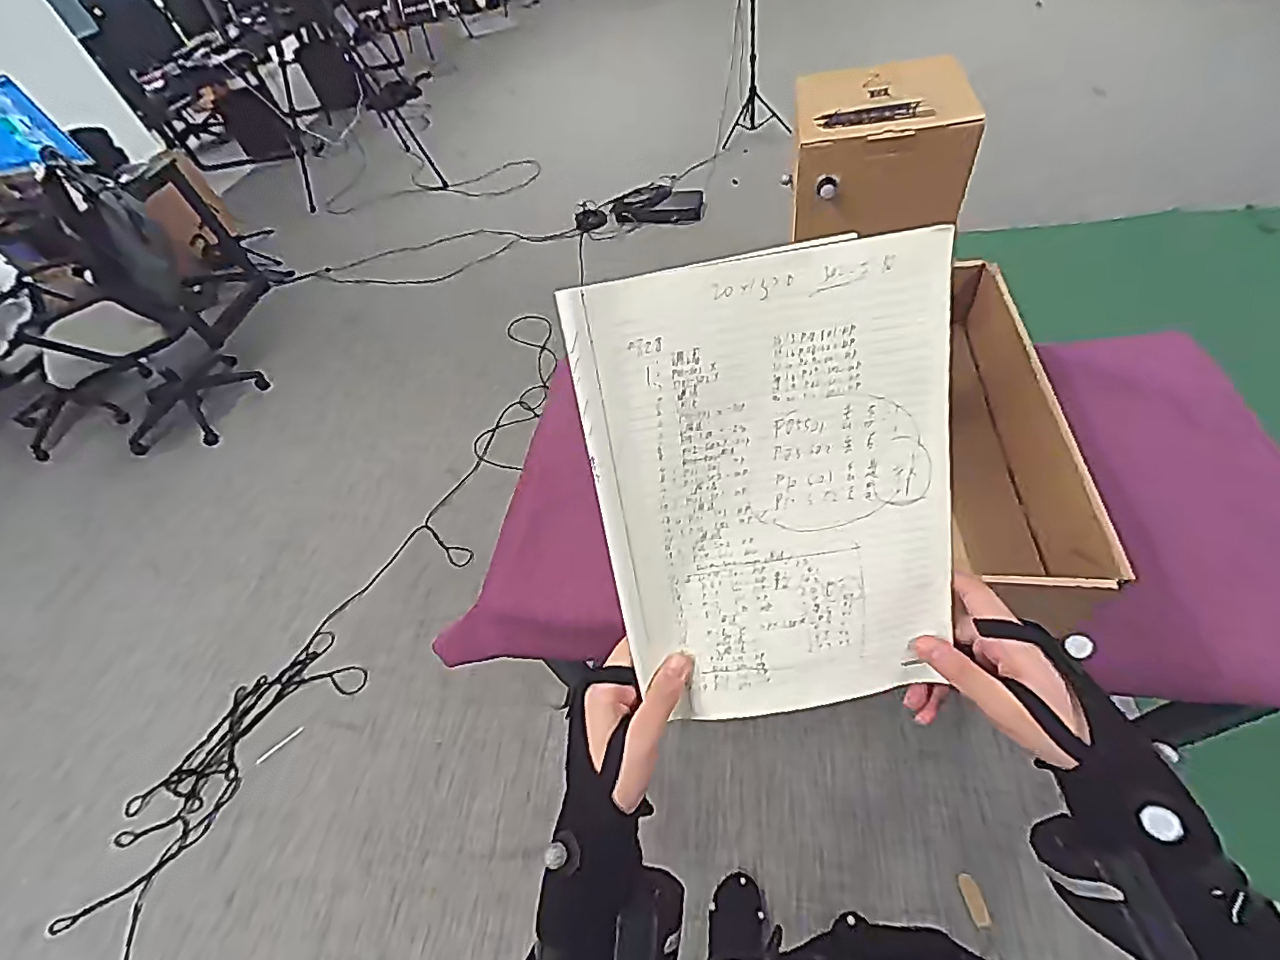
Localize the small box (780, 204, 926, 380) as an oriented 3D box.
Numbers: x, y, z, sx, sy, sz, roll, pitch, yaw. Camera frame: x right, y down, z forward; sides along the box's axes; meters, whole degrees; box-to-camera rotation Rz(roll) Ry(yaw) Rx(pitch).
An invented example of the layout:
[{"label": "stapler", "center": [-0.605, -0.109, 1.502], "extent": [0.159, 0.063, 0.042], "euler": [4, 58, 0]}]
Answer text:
[{"label": "small box", "center": [0.286, -0.254, 0.759], "extent": [0.168, 0.176, 0.179], "euler": [2, 54, 14]}]
